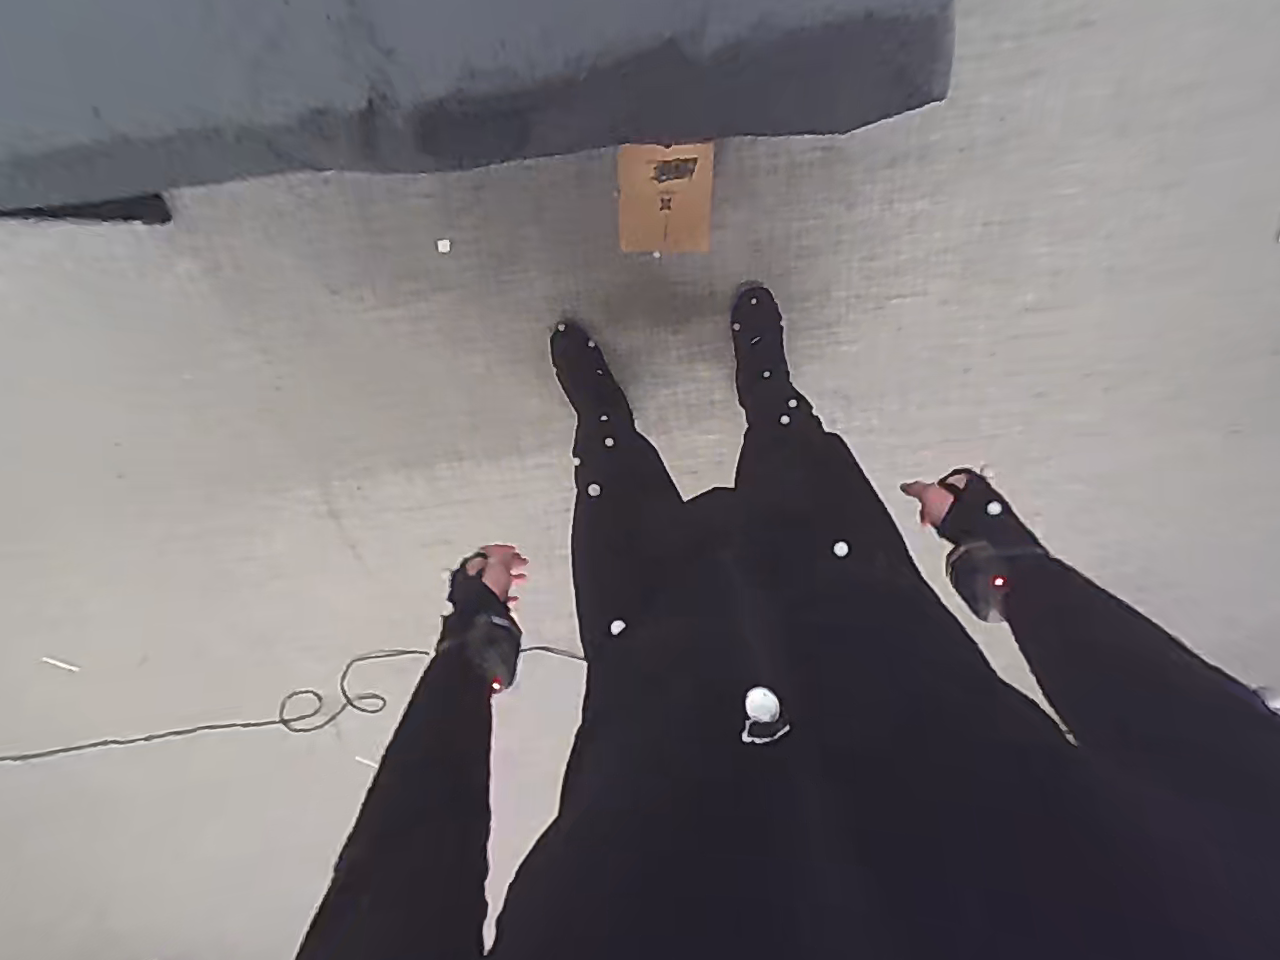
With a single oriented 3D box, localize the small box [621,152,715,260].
[{"bbox_3d":[0.048,-0.527,1.055,0.168,0.176,0.179,-2,115,-2],"label":"small box"}]
